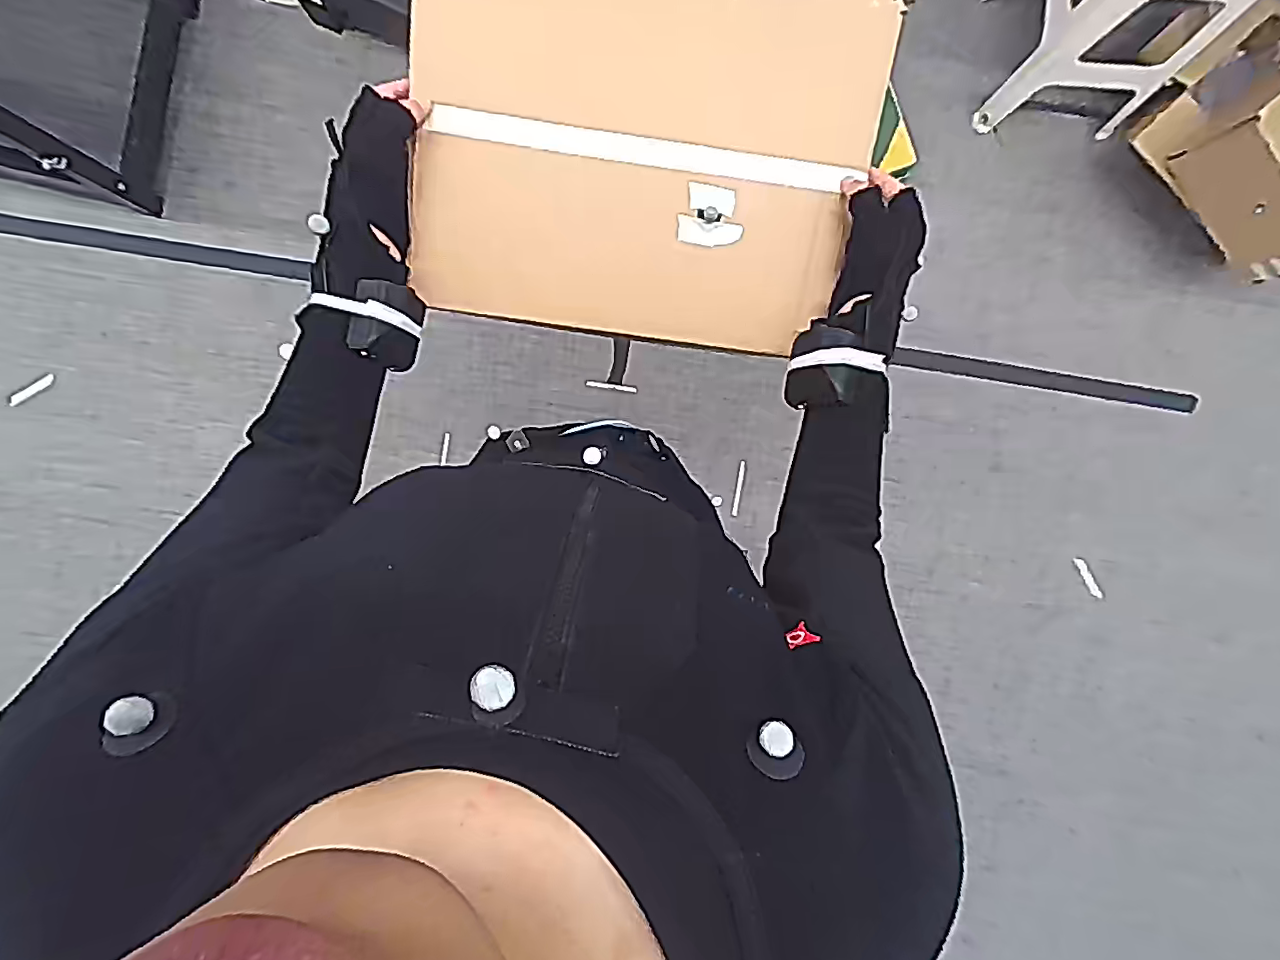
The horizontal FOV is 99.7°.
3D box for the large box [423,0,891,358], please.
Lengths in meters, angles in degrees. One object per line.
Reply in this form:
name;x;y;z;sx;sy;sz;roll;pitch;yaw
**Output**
large box;-0.002;-0.327;0.638;0.408;0.320;0.320;7;105;-4
